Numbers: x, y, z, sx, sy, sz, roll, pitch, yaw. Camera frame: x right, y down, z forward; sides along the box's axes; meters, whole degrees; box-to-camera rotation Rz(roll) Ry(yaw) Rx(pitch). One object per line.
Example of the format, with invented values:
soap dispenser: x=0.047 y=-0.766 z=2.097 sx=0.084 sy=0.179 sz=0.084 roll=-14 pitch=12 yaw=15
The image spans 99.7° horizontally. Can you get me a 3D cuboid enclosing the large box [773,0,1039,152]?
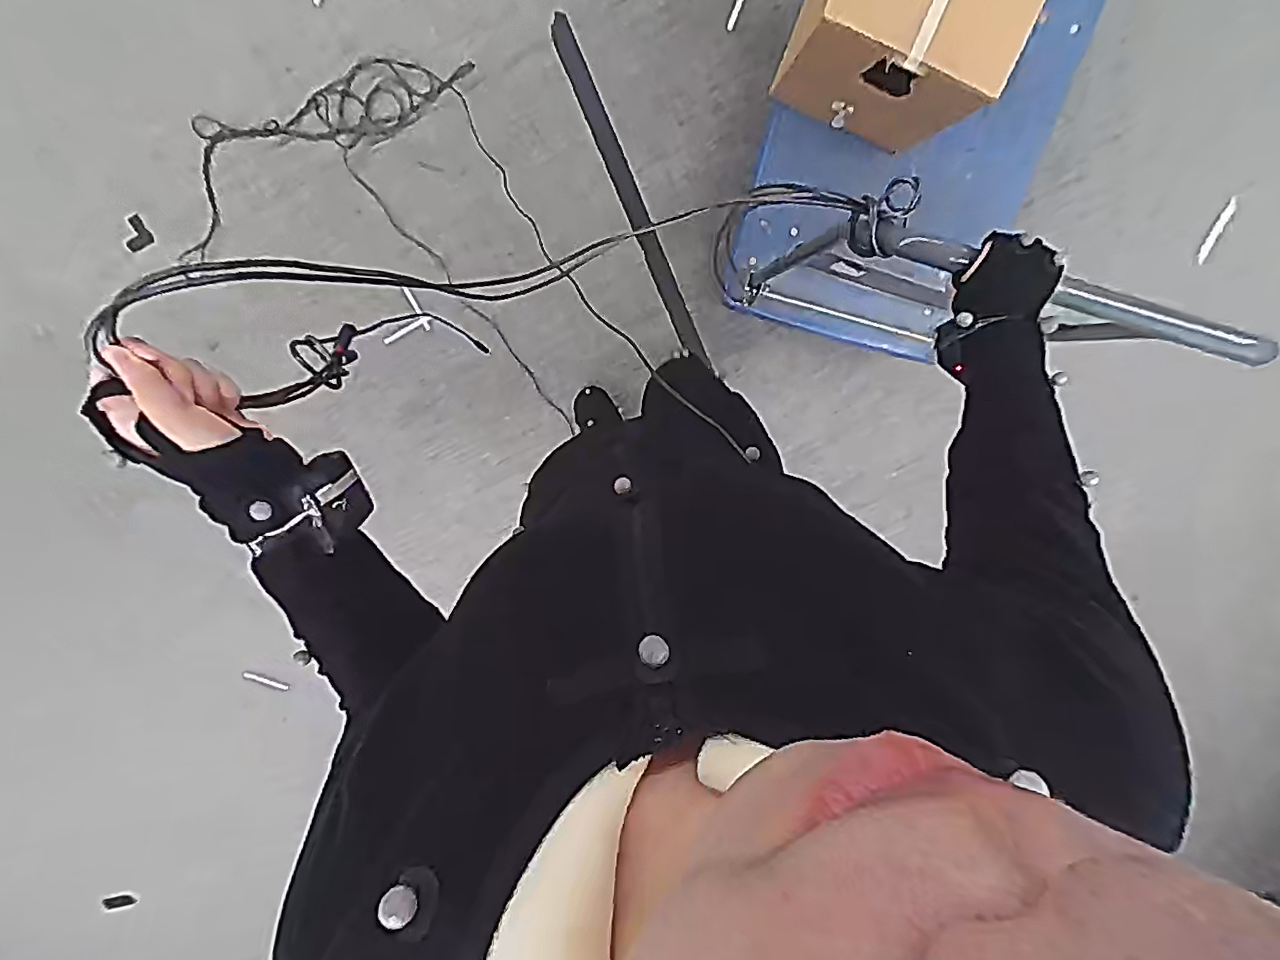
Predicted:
large box: x=0.473 y=-0.866 z=0.924 sx=0.320 sy=0.320 sz=0.408 roll=18 pitch=105 yaw=-8
